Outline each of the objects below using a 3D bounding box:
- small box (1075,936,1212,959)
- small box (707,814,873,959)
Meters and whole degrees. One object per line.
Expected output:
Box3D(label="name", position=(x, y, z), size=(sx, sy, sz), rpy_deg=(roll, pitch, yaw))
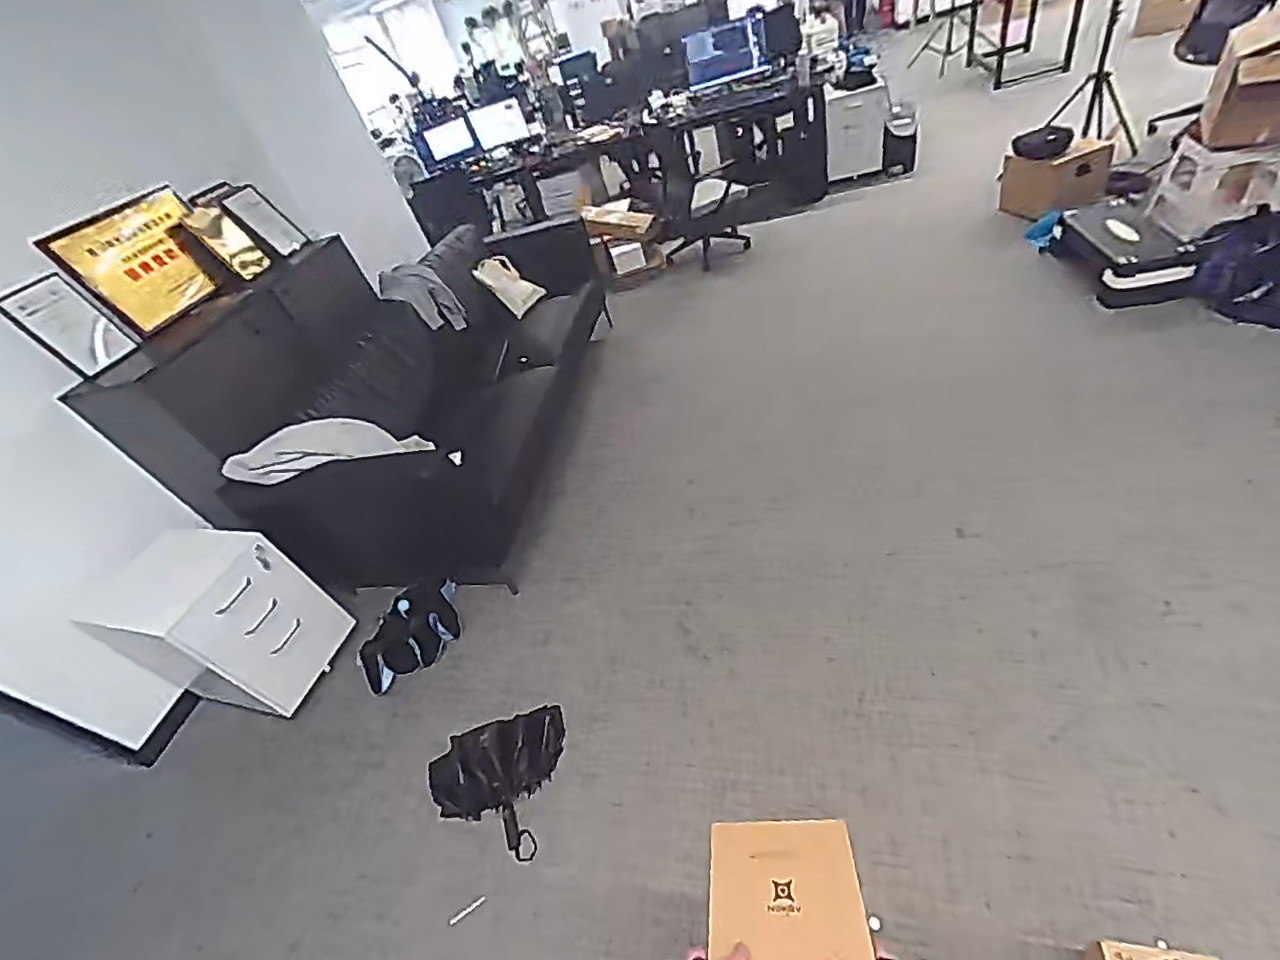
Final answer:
Box3D(label="small box", position=(0.888, 0.920, 0.925), size=(0.168, 0.176, 0.179), rpy_deg=(-5, 43, 18))
Box3D(label="small box", position=(0.174, 0.527, 0.621), size=(0.168, 0.176, 0.179), rpy_deg=(-9, 17, 11))
